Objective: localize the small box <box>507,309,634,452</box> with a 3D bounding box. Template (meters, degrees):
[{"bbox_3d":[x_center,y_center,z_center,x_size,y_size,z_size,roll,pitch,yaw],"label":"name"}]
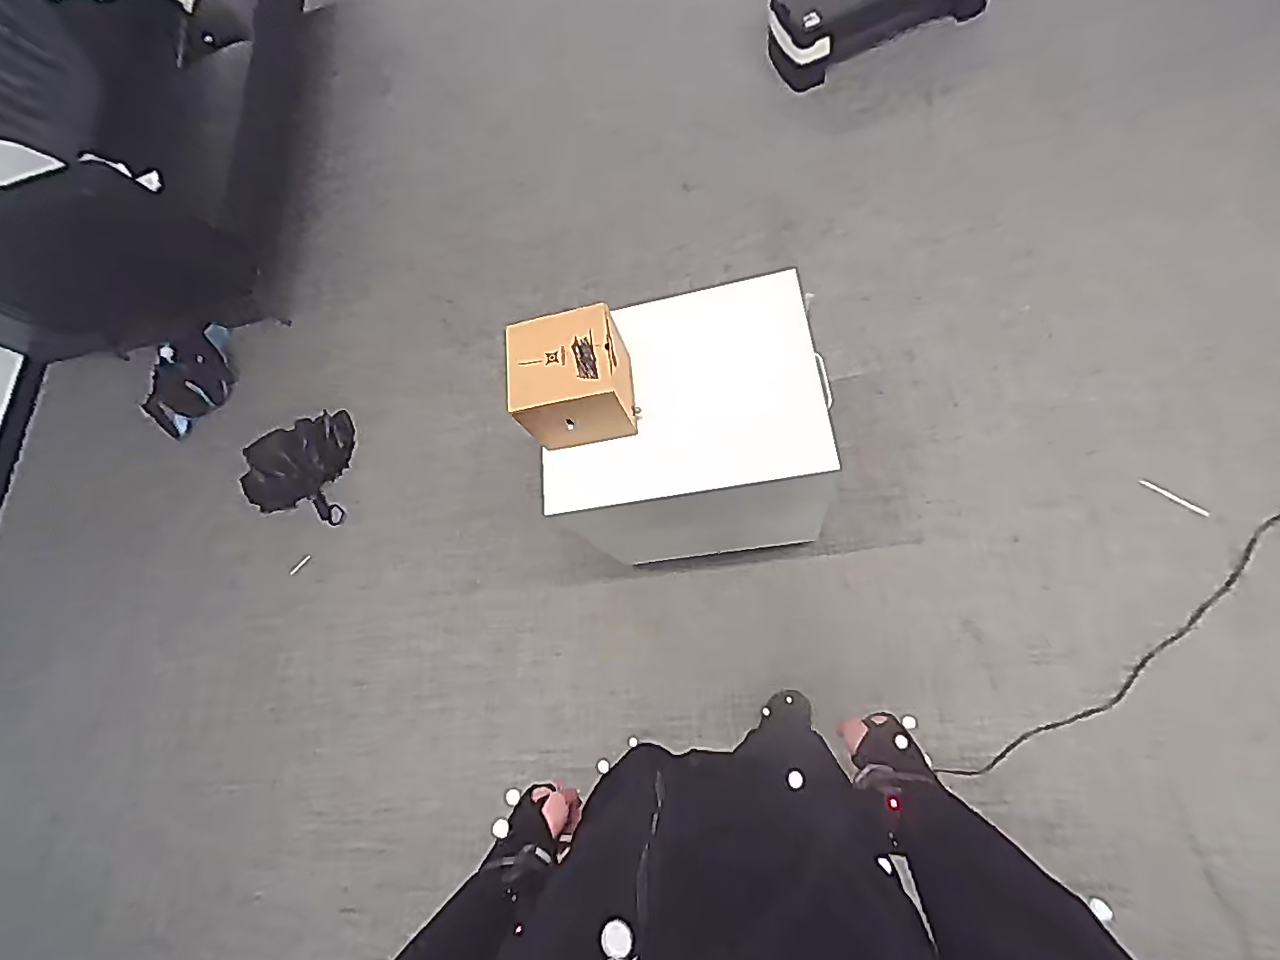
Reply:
[{"bbox_3d":[-0.112,-0.163,0.933,0.179,0.176,0.168,-10,69,11],"label":"small box"}]
